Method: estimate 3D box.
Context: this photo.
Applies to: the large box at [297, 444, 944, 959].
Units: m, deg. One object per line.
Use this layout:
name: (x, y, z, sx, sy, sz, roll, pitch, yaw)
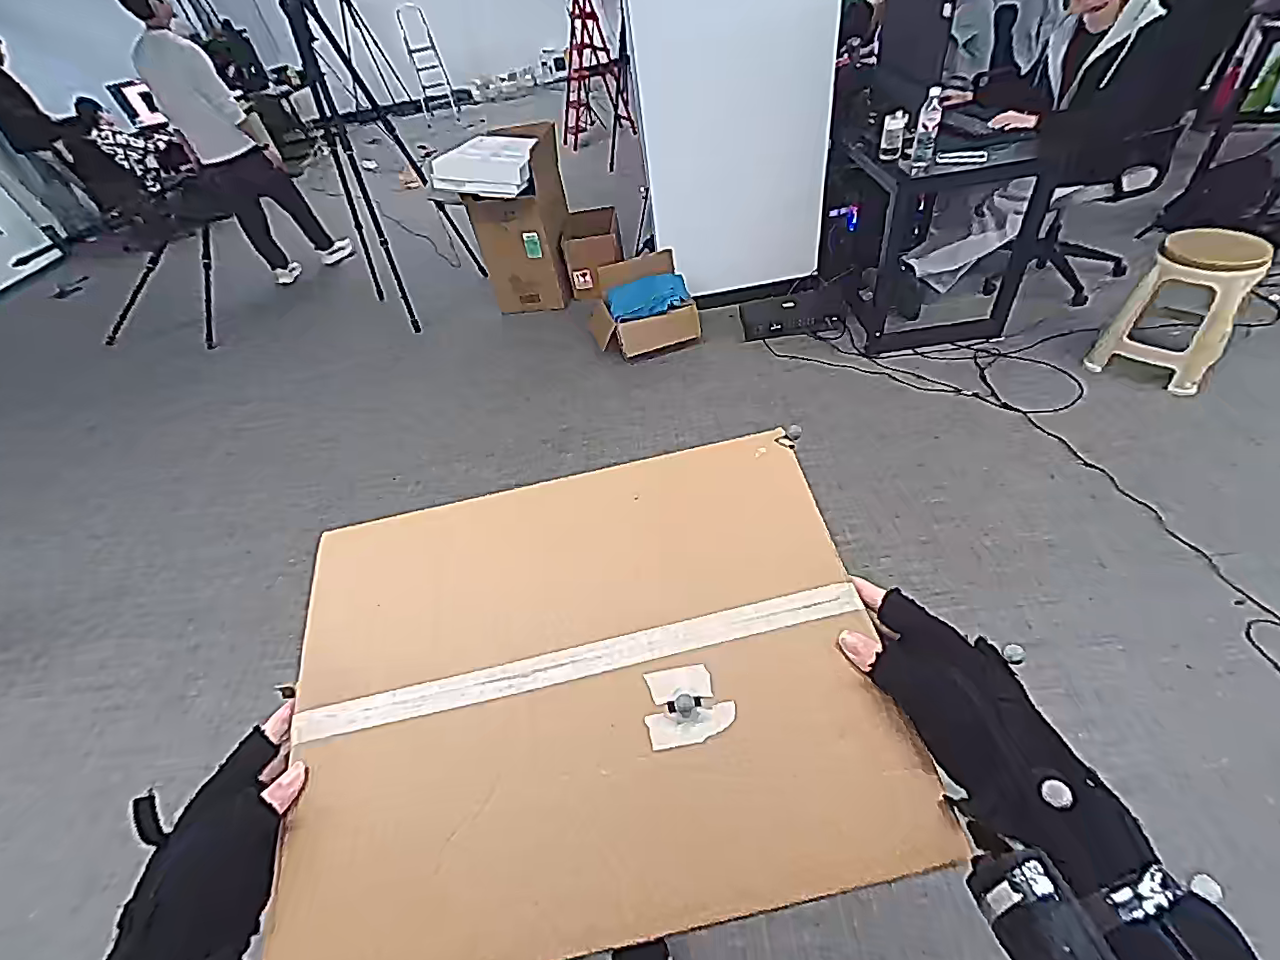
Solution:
large box: (-0.025, 0.216, 0.522, 0.408, 0.320, 0.320, -13, 58, -2)
